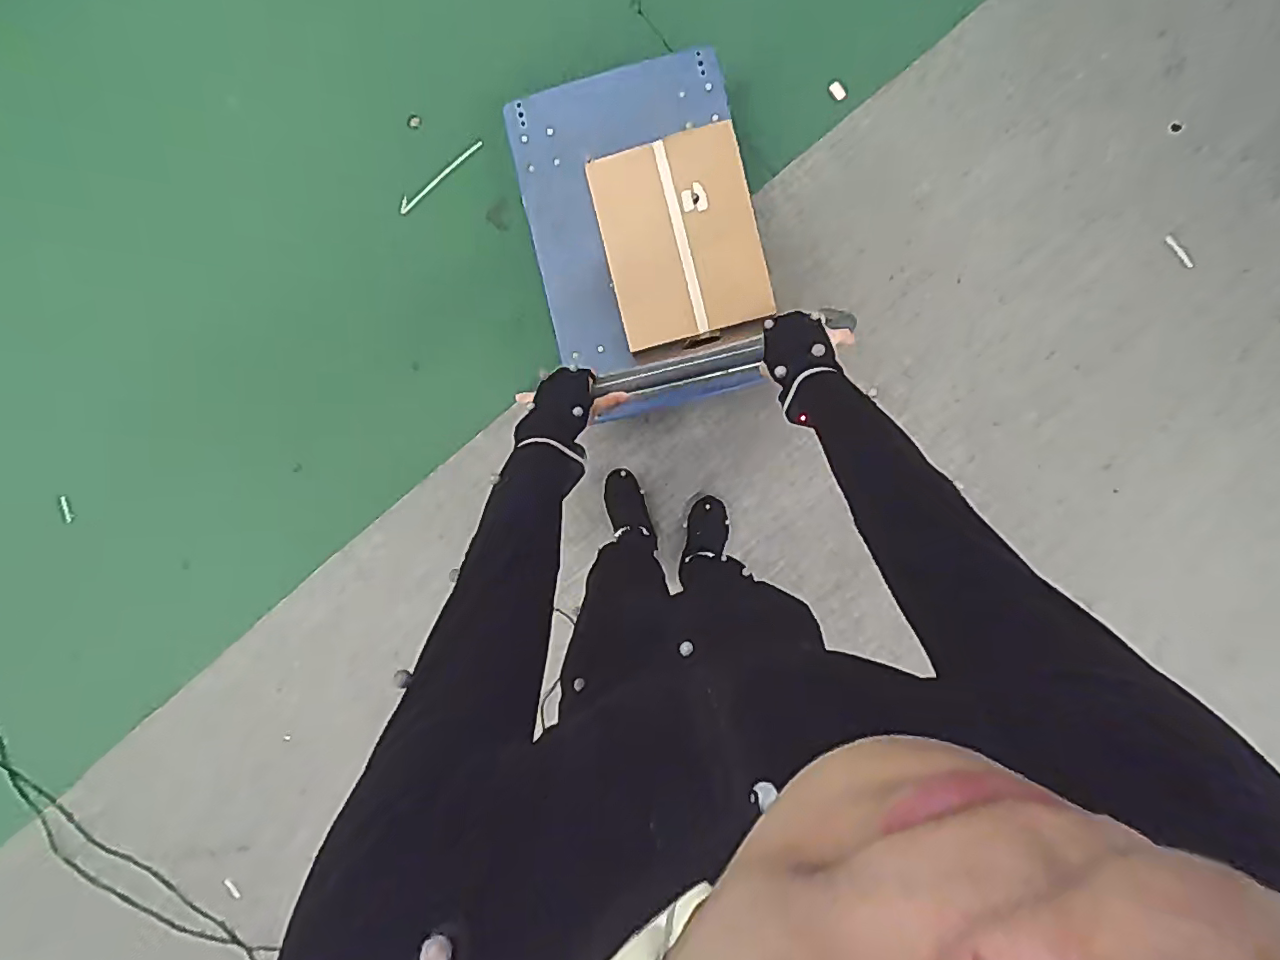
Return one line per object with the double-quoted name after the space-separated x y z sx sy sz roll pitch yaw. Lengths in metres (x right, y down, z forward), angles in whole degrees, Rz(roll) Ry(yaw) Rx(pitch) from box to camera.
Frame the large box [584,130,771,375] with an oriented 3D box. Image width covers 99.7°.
0.089 -0.500 1.279 0.320 0.320 0.408 -14 91 4 "large box"
